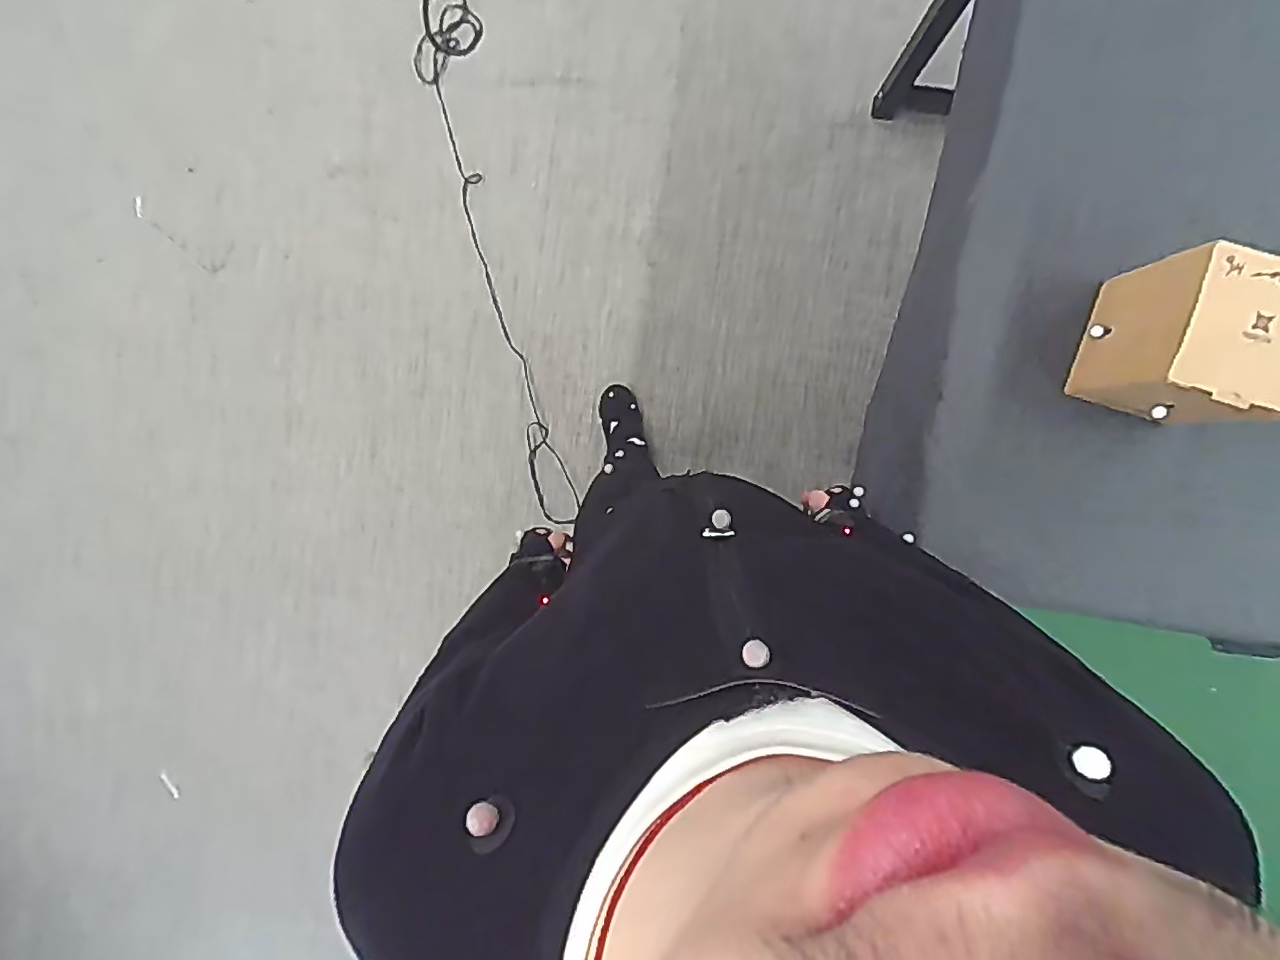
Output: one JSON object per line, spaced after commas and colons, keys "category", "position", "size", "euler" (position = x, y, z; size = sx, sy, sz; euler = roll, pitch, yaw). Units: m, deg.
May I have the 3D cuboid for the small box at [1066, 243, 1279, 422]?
{"category": "small box", "position": [0.730, -0.183, 0.728], "size": [0.168, 0.176, 0.179], "euler": [17, 95, 1]}

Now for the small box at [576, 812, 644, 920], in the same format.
{"category": "small box", "position": [-0.081, 1.108, 1.561], "size": [0.168, 0.176, 0.179], "euler": [11, 94, -1]}
